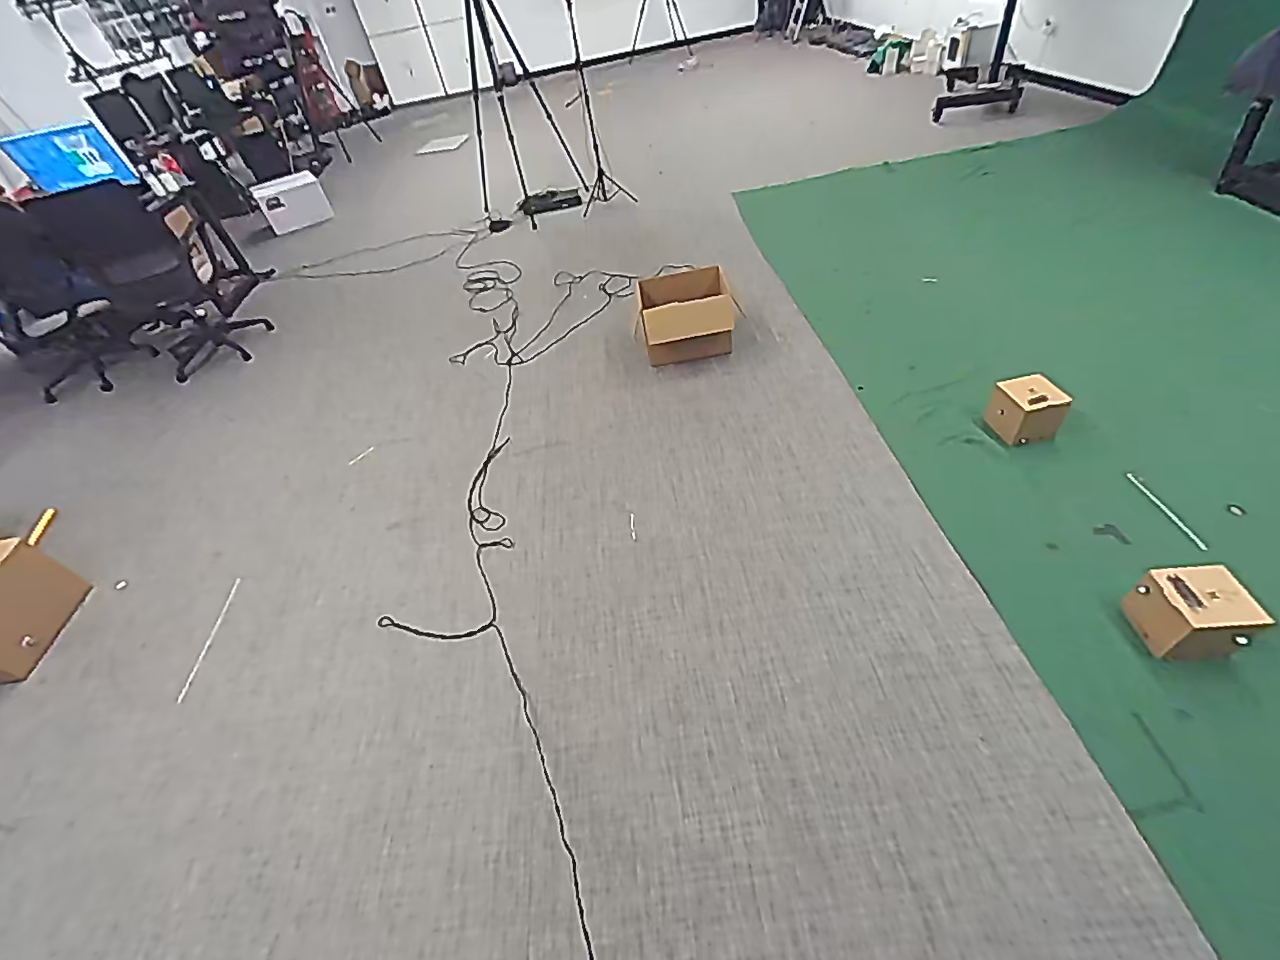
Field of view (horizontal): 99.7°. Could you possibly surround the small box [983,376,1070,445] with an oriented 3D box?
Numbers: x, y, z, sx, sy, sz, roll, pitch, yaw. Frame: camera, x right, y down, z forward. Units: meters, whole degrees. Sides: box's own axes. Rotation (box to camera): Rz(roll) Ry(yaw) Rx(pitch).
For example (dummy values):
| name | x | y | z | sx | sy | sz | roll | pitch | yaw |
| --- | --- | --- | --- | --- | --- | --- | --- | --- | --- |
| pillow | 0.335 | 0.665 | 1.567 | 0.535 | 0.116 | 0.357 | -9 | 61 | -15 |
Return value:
| name | x | y | z | sx | sy | sz | roll | pitch | yaw |
| --- | --- | --- | --- | --- | --- | --- | --- | --- | --- |
| small box | 1.379 | -0.242 | 1.942 | 0.168 | 0.176 | 0.179 | -12 | 44 | 0 |
